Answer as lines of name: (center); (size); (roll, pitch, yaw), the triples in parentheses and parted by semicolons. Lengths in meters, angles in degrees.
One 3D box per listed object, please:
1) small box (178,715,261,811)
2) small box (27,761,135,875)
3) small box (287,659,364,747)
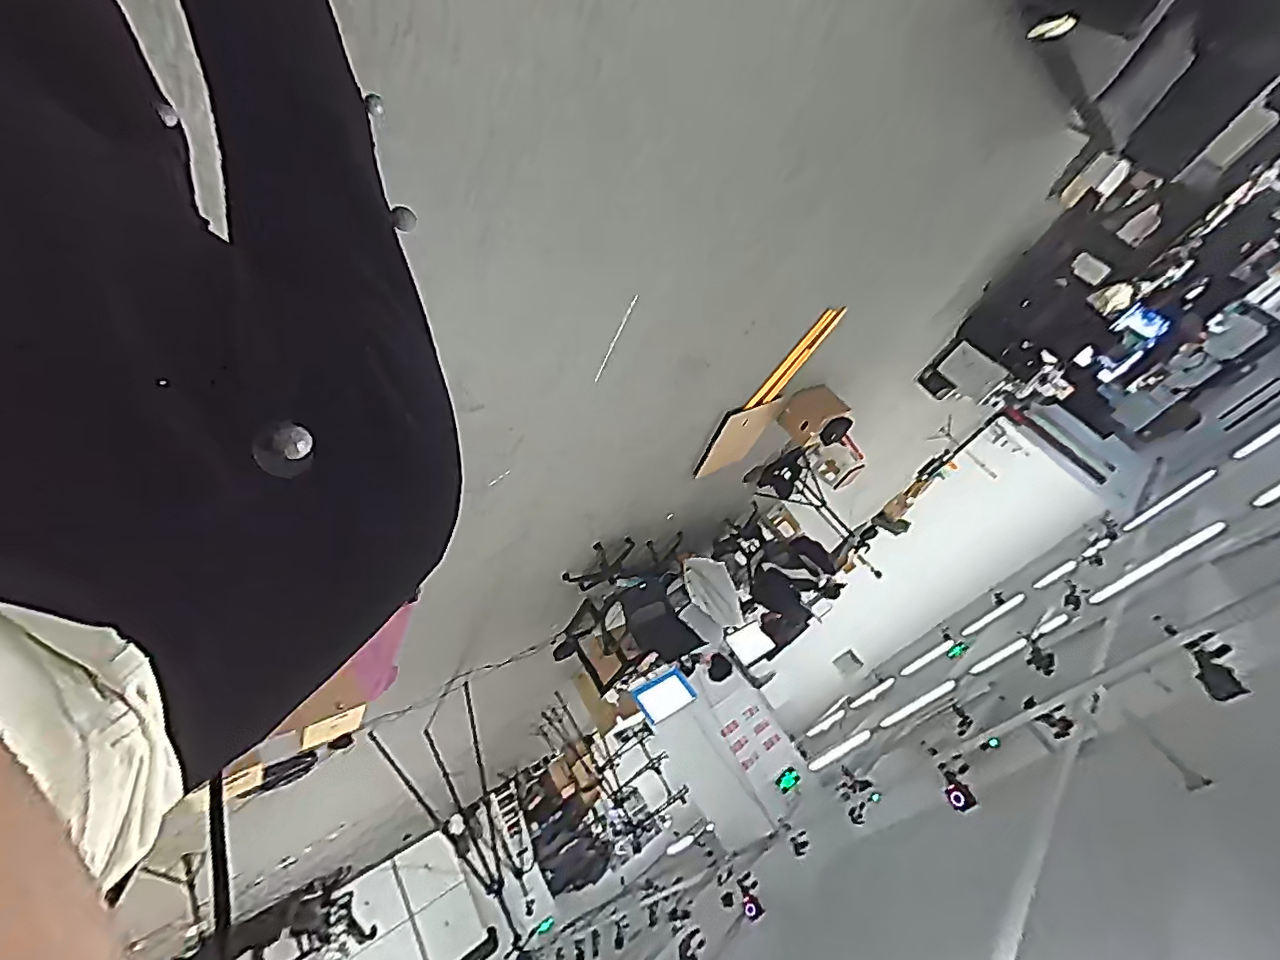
small box: (-1.237, 0.824, 1.593); (0.168, 0.176, 0.179); (-12, 146, -43)
small box: (-1.439, 0.866, 1.397); (0.168, 0.176, 0.179); (-14, 145, -43)
small box: (-0.991, 0.695, 1.697); (0.168, 0.176, 0.179); (-11, 144, -44)
